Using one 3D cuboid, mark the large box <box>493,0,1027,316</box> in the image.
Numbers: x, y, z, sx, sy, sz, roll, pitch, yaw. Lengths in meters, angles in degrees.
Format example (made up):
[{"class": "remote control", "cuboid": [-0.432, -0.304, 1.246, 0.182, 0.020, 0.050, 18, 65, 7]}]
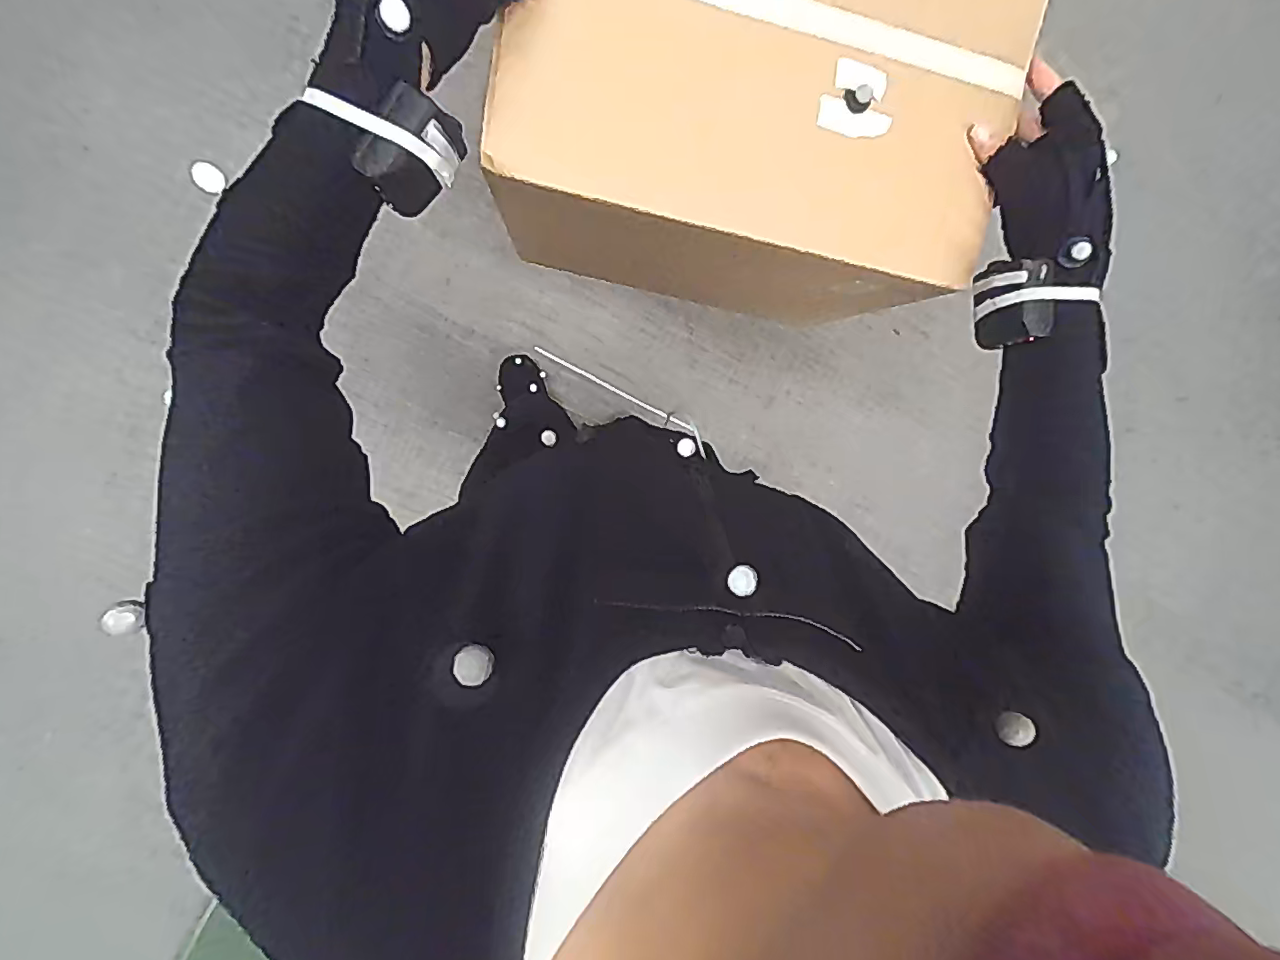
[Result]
[{"class": "large box", "cuboid": [0.083, -0.378, 0.557, 0.408, 0.320, 0.320, 9, 99, -10]}]
